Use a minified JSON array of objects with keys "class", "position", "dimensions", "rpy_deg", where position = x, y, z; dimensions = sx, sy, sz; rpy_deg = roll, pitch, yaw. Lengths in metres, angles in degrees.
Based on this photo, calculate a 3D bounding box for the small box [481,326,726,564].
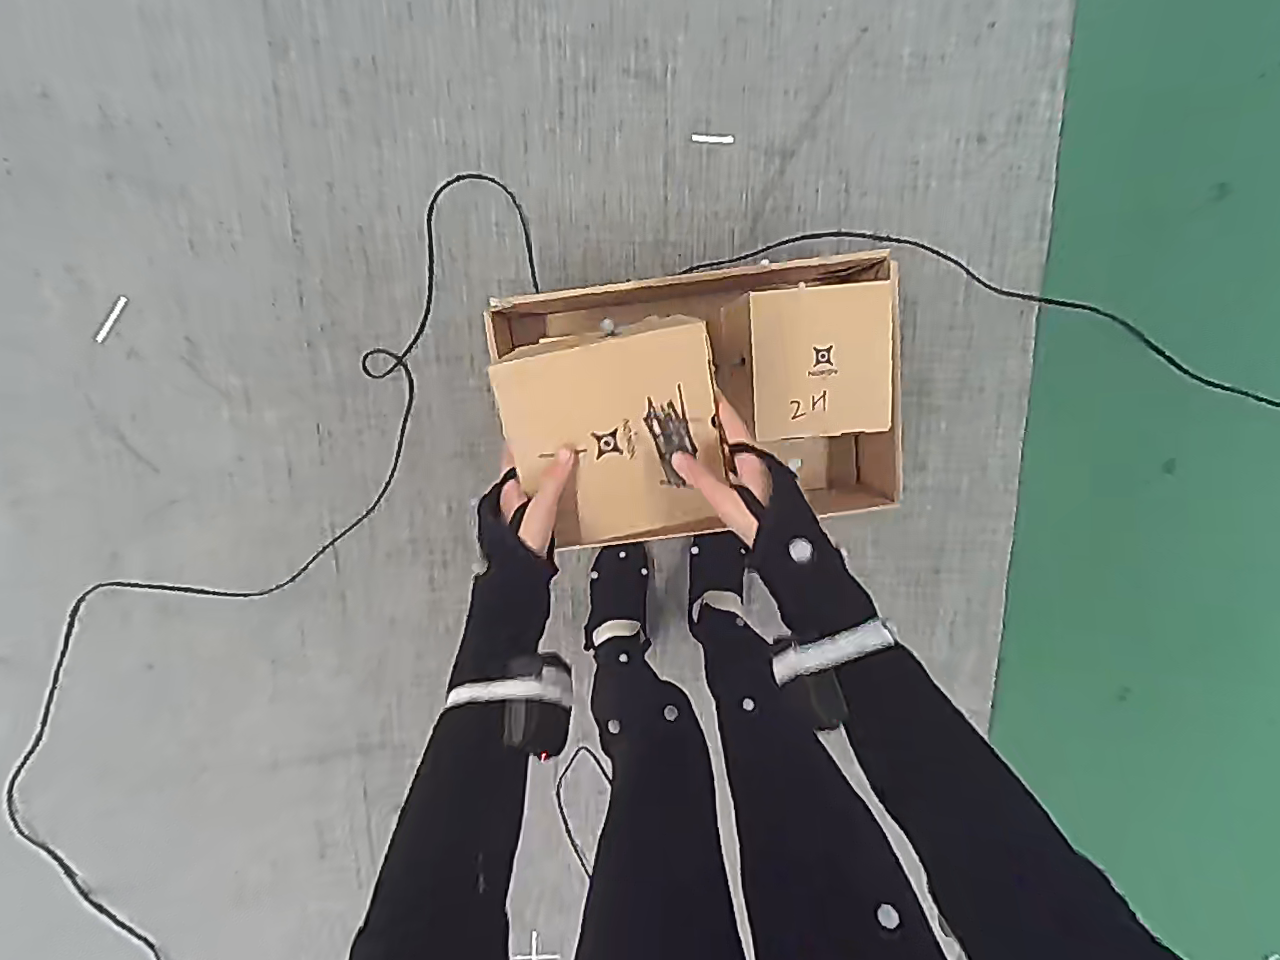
[{"class":"small box","position":[-0.029,-0.045,0.514],"dimensions":[0.179,0.176,0.168],"rpy_deg":[-11,109,1]}]

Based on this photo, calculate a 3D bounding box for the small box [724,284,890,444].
[{"class":"small box","position":[0.206,-0.149,0.708],"dimensions":[0.168,0.176,0.179],"rpy_deg":[-5,103,0]}]
